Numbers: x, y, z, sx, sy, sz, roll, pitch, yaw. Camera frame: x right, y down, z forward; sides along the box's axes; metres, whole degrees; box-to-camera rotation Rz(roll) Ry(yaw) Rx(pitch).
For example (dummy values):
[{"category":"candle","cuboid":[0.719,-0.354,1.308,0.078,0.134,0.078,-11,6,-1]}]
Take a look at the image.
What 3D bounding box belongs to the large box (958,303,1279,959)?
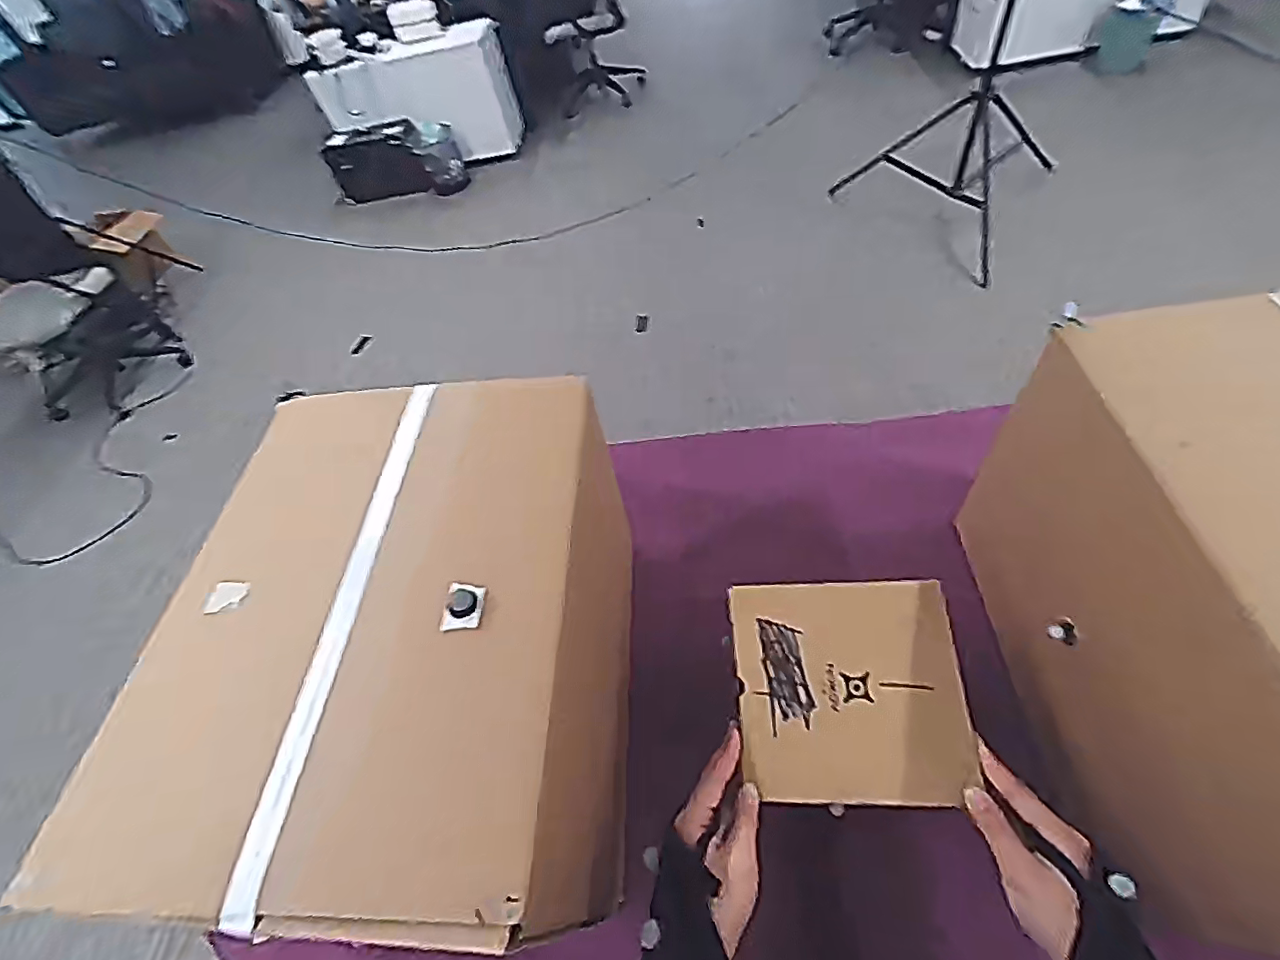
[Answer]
[{"category":"large box","cuboid":[0.509,0.113,0.417,0.320,0.320,0.408,-4,52,8]}]
